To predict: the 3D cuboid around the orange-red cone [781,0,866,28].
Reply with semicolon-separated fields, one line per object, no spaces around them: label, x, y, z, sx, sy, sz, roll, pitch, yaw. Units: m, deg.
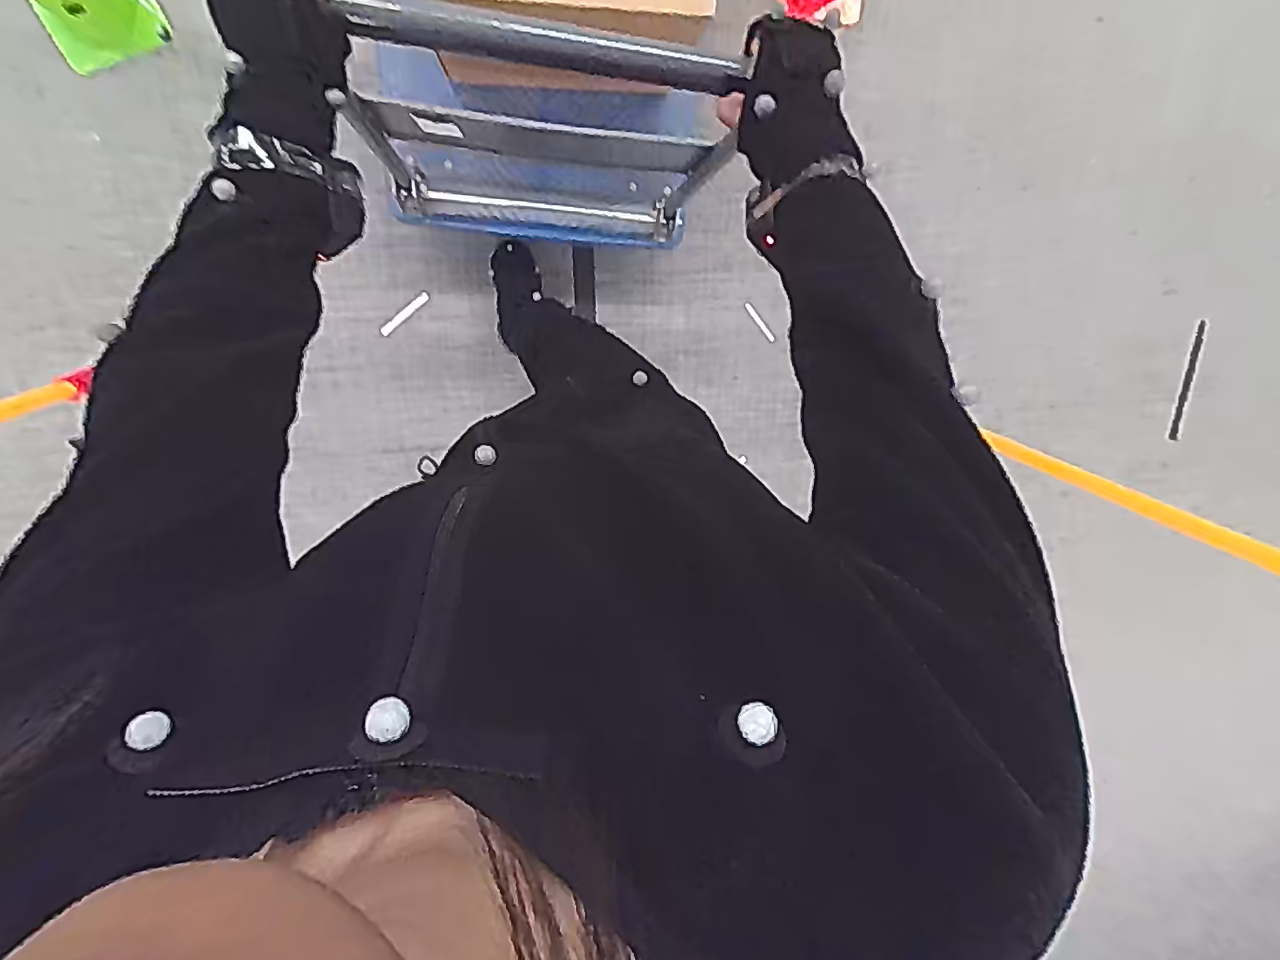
orange-red cone;0.438;-1.049;0.999;0.199;0.360;0.198;2;108;-12
